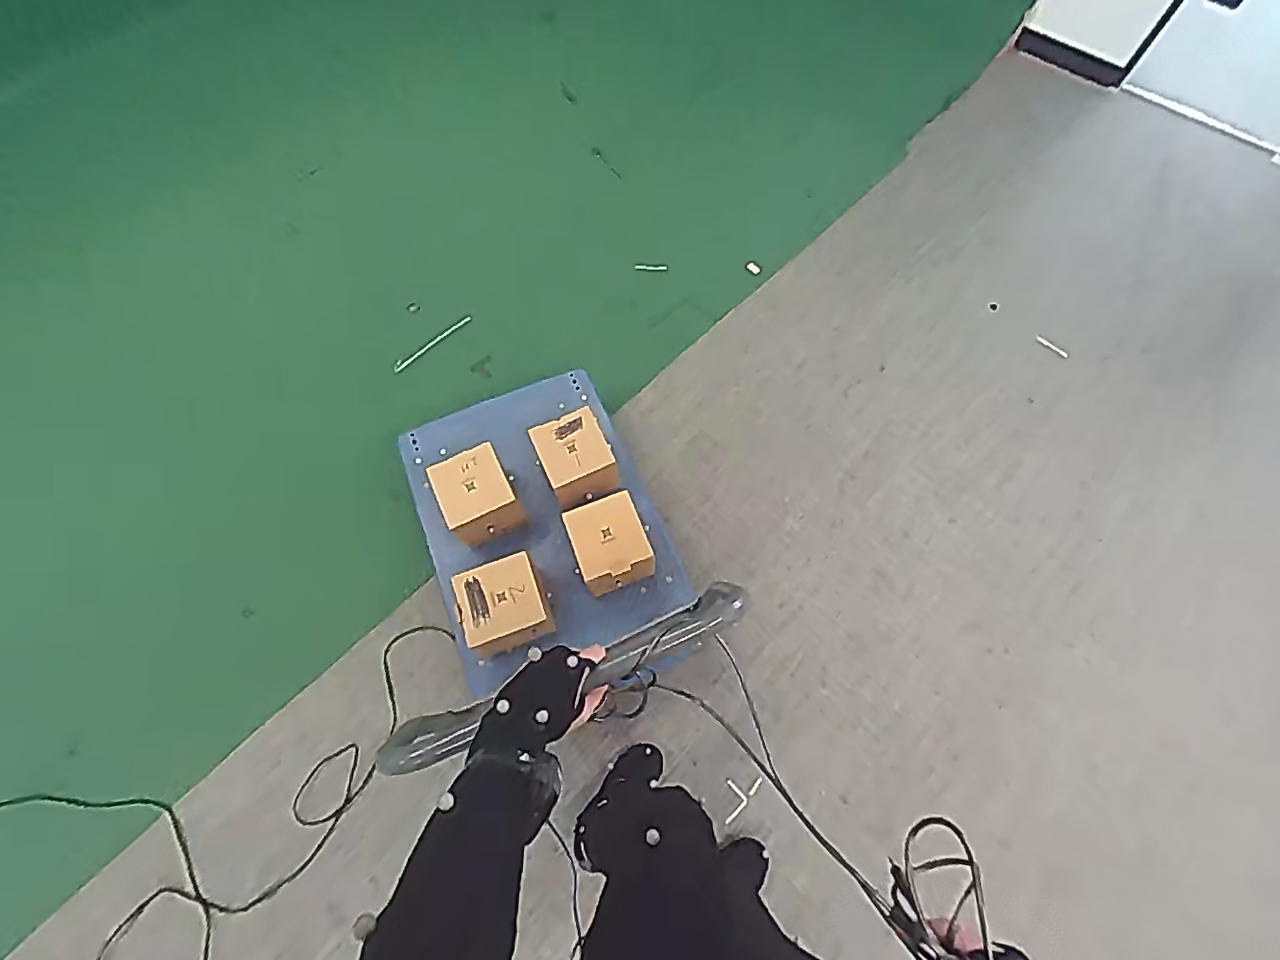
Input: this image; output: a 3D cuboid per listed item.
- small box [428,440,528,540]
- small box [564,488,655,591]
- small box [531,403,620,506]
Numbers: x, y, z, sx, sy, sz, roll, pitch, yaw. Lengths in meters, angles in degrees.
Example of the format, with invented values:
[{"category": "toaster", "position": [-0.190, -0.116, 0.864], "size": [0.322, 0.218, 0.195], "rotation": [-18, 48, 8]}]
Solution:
[{"category": "small box", "position": [-0.397, 0.034, 1.354], "size": [0.168, 0.176, 0.179], "rotation": [-25, 69, -9]}, {"category": "small box", "position": [-0.071, 0.148, 1.302], "size": [0.168, 0.176, 0.179], "rotation": [-21, 70, -7]}, {"category": "small box", "position": [-0.161, -0.061, 1.386], "size": [0.168, 0.176, 0.179], "rotation": [-24, 70, -7]}]
